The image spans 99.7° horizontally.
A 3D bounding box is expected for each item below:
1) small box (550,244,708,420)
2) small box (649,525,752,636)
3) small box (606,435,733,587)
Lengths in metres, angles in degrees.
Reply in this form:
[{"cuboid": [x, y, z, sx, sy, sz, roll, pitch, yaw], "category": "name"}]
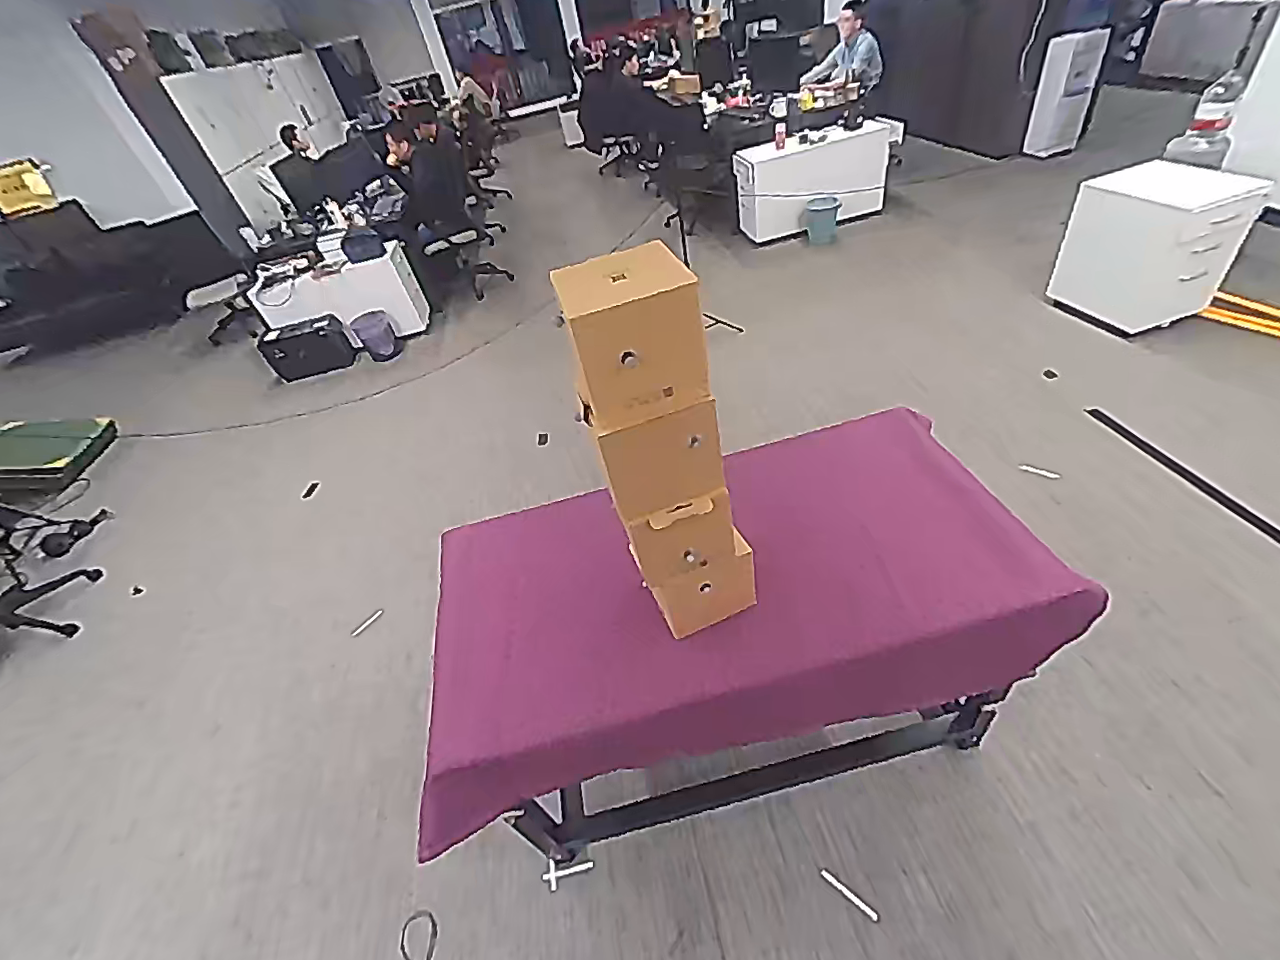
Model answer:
[{"cuboid": [-0.013, -0.200, 0.754, 0.168, 0.176, 0.179, -18, 40, -4], "category": "small box"}, {"cuboid": [0.104, 0.172, 1.054, 0.179, 0.176, 0.168, -22, 42, -9], "category": "small box"}, {"cuboid": [0.052, 0.054, 0.950, 0.168, 0.176, 0.179, -19, 42, -4], "category": "small box"}]
